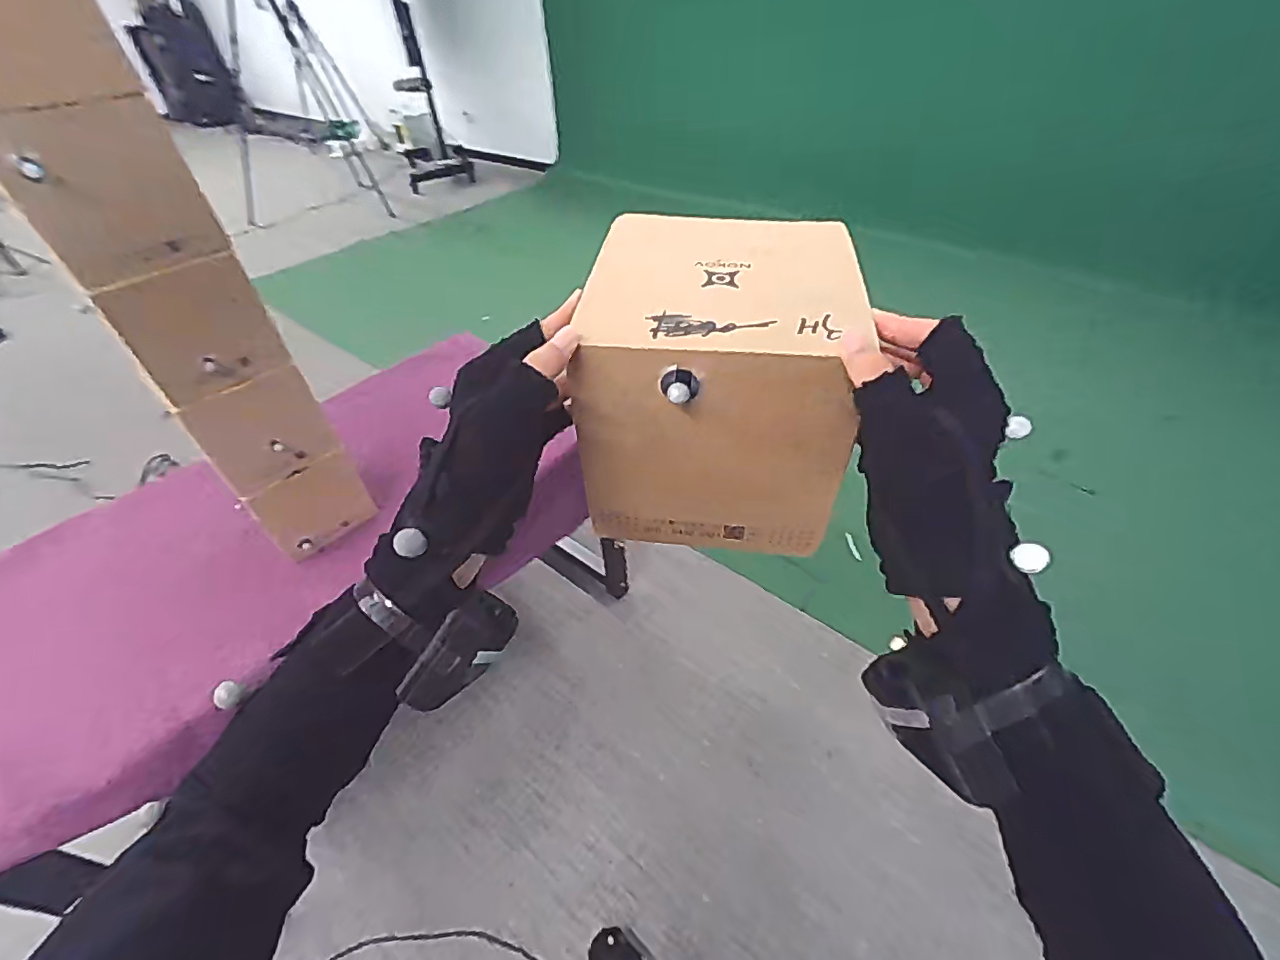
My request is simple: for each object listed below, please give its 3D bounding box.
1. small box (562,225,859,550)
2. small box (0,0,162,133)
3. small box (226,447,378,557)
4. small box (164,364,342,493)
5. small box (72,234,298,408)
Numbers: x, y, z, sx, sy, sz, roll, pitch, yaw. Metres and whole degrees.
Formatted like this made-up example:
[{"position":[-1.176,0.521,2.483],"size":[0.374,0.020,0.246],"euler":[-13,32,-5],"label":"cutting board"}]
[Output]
[{"position":[0.050,-0.073,0.407],"size":[0.168,0.176,0.179],"euler":[4,45,8],"label":"small box"},{"position":[-0.657,-0.468,0.552],"size":[0.168,0.176,0.179],"euler":[29,51,31],"label":"small box"},{"position":[-0.617,0.015,0.990],"size":[0.179,0.176,0.168],"euler":[30,52,31],"label":"small box"},{"position":[-0.629,-0.107,0.881],"size":[0.179,0.176,0.168],"euler":[30,53,30],"label":"small box"},{"position":[-0.638,-0.228,0.773],"size":[0.179,0.176,0.168],"euler":[30,53,30],"label":"small box"}]
